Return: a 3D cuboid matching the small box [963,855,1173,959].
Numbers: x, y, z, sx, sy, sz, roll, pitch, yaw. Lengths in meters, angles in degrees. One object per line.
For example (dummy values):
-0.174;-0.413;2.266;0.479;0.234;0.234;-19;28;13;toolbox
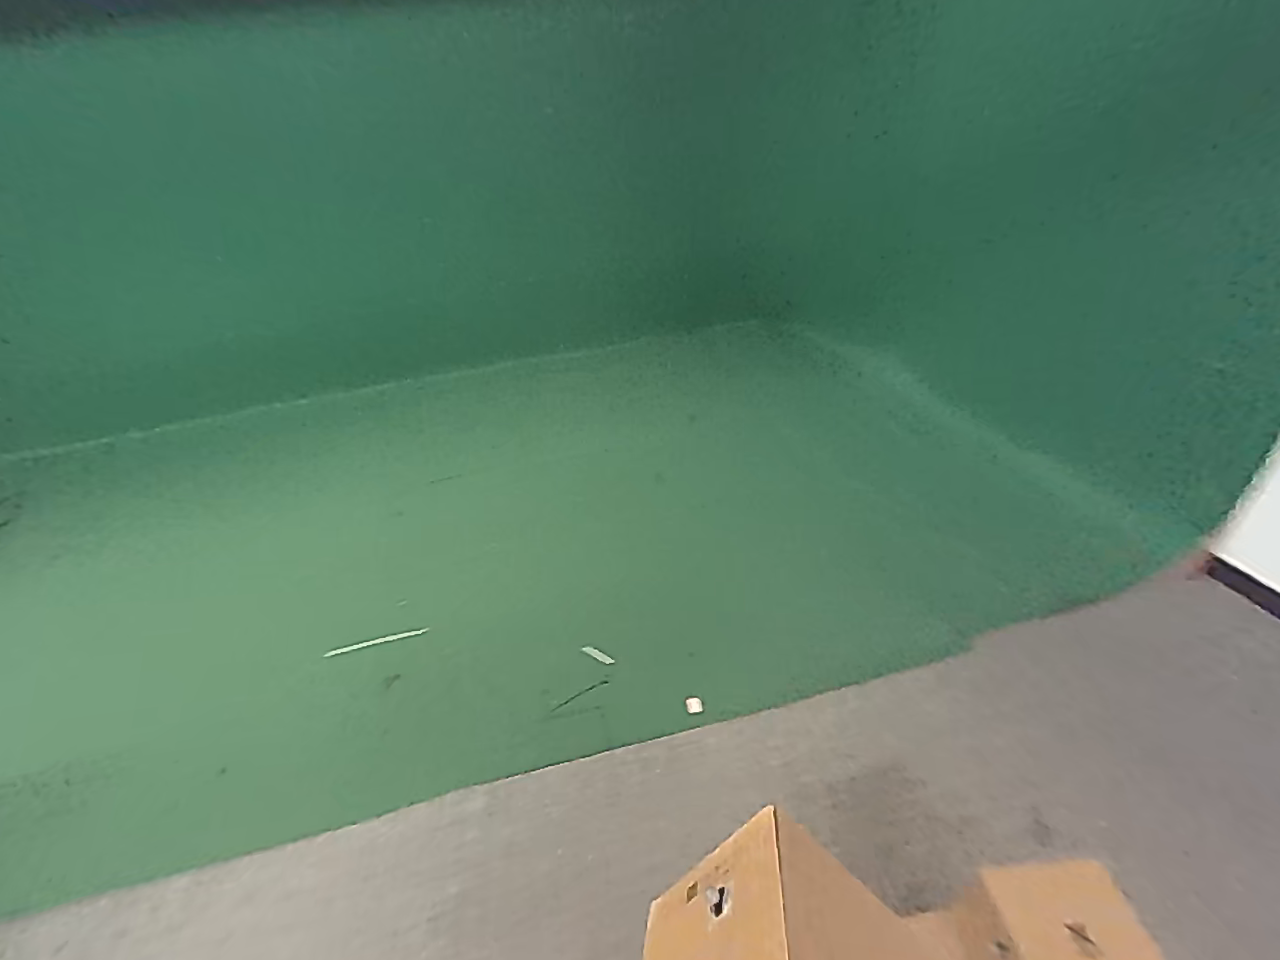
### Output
0.564;0.635;0.716;0.168;0.176;0.179;-7;35;2;small box
